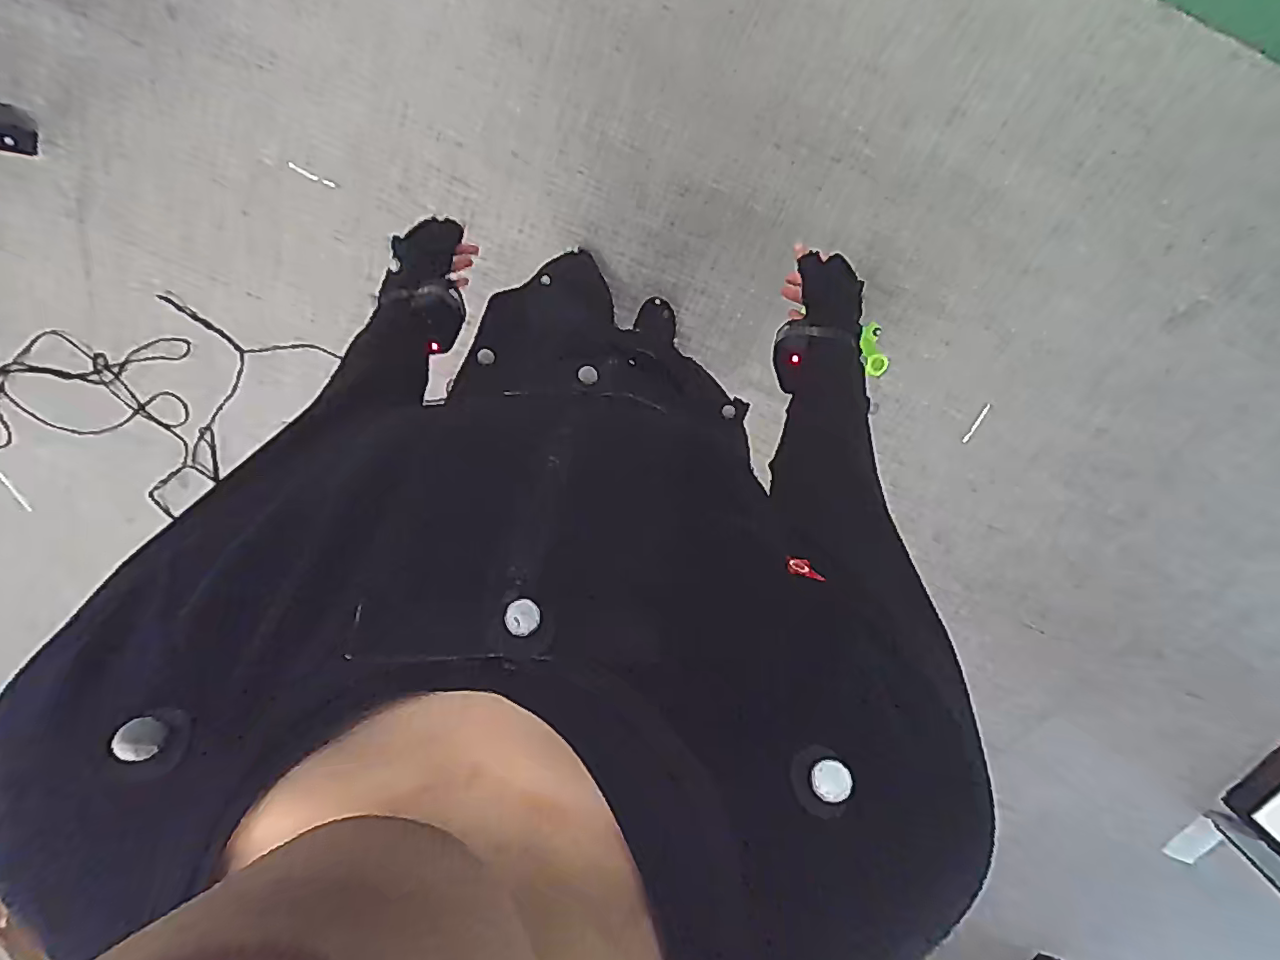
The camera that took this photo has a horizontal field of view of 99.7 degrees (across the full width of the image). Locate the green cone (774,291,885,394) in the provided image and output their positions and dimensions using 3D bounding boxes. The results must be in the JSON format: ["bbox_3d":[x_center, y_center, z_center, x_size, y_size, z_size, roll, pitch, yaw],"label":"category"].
[{"bbox_3d":[0.451,-0.280,1.181,0.200,0.368,0.202,29,109,-6],"label":"green cone"}]
